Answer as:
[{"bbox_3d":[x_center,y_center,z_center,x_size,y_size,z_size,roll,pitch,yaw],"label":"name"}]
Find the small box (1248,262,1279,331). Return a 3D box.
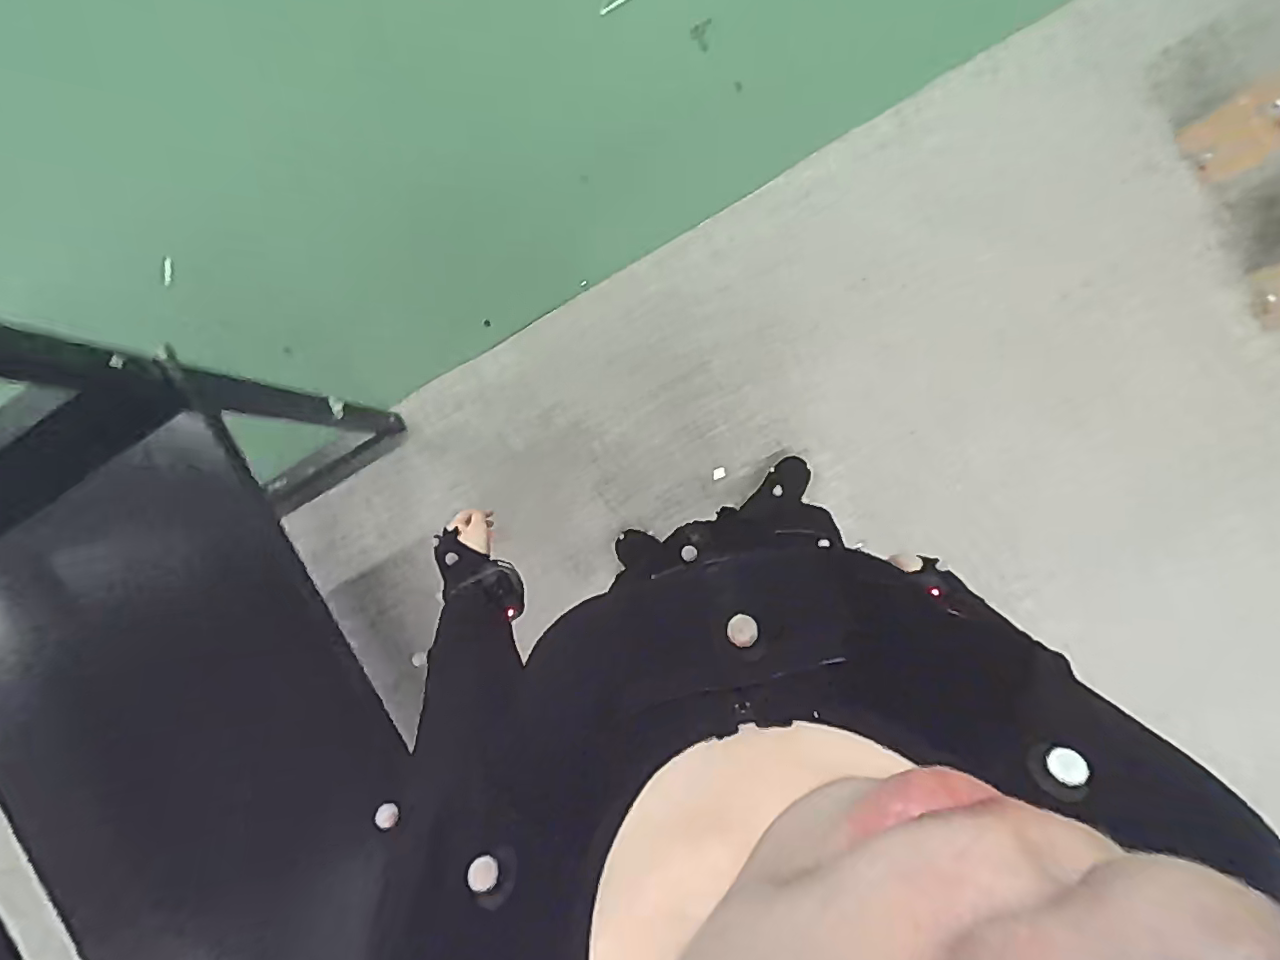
[{"bbox_3d":[1.693,-0.489,1.333,0.179,0.176,0.168,-20,88,3],"label":"small box"}]

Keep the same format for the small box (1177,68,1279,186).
[{"bbox_3d":[1.522,-0.882,1.343,0.179,0.176,0.168,-34,88,2],"label":"small box"}]
